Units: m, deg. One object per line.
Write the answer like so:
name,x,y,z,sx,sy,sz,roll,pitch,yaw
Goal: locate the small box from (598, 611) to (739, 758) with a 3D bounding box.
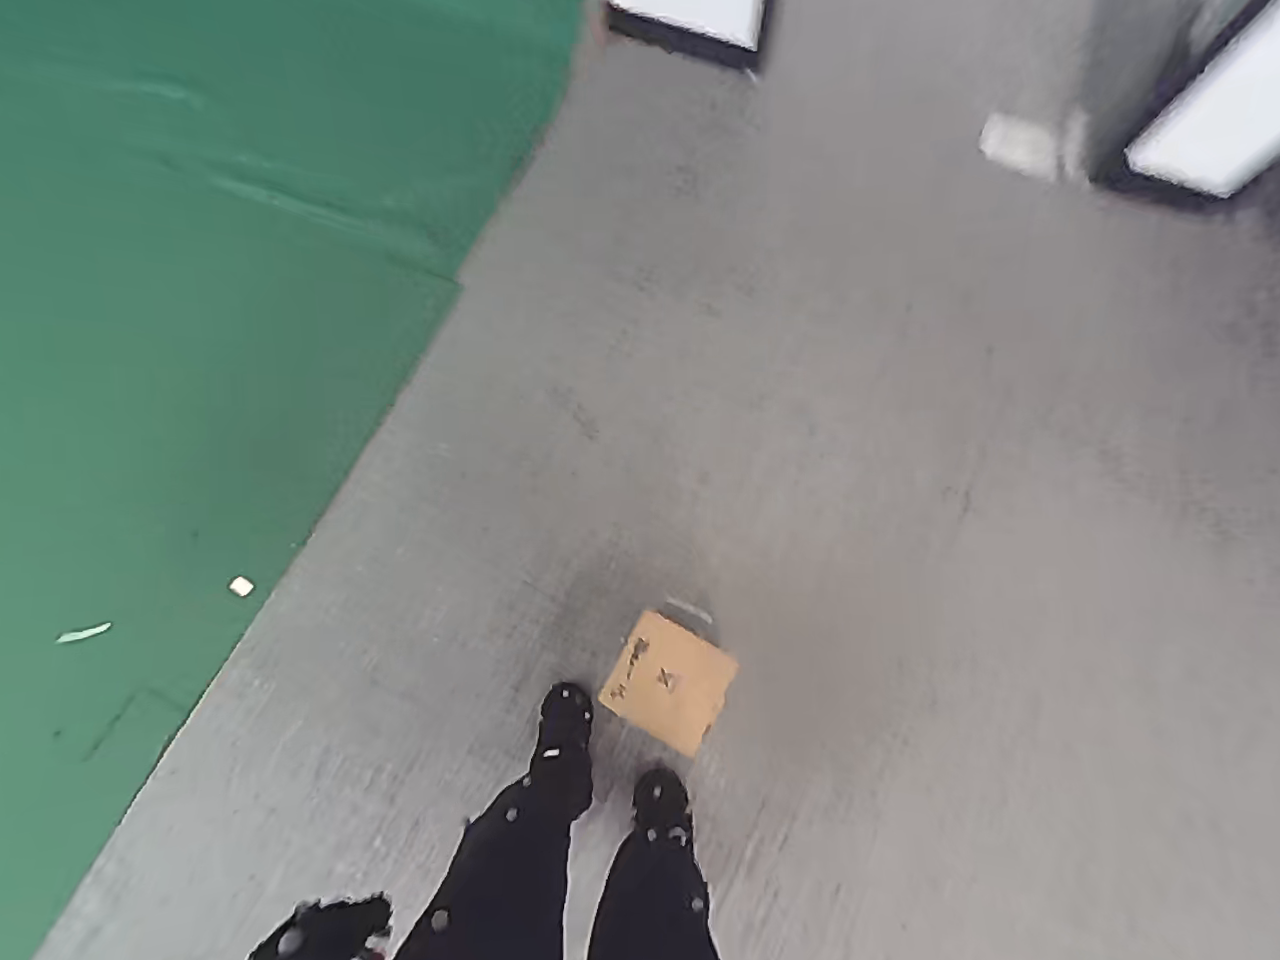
small box,0.050,0.341,0.941,0.179,0.176,0.168,29,79,10
